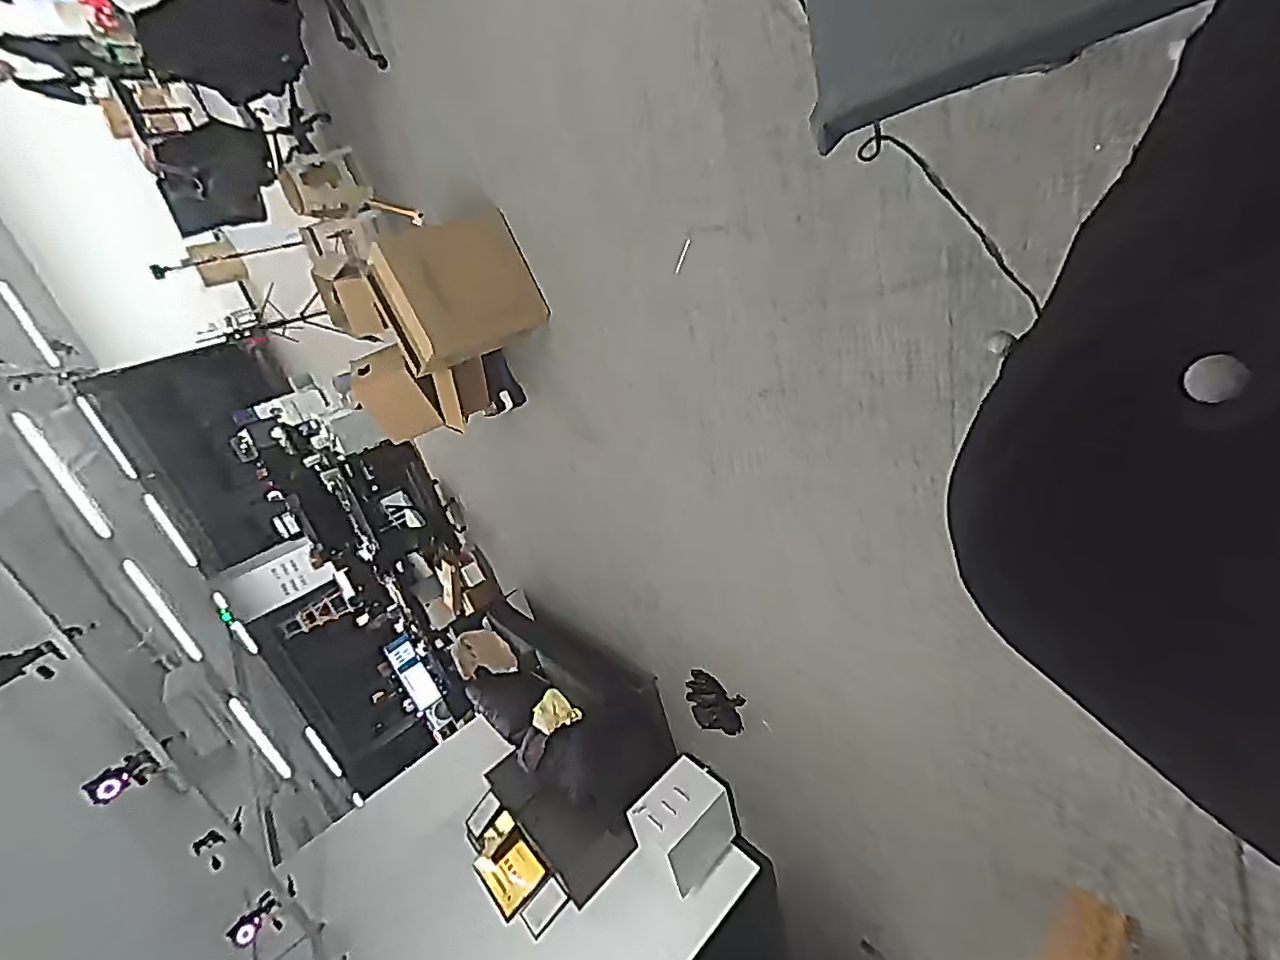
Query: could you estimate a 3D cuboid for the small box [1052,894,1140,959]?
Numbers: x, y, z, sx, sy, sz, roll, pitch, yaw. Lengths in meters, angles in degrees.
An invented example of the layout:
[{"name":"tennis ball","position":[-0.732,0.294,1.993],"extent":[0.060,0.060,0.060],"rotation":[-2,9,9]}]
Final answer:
[{"name":"small box","position":[1.502,1.521,1.779],"extent":[0.179,0.176,0.168],"rotation":[-5,113,54]}]
